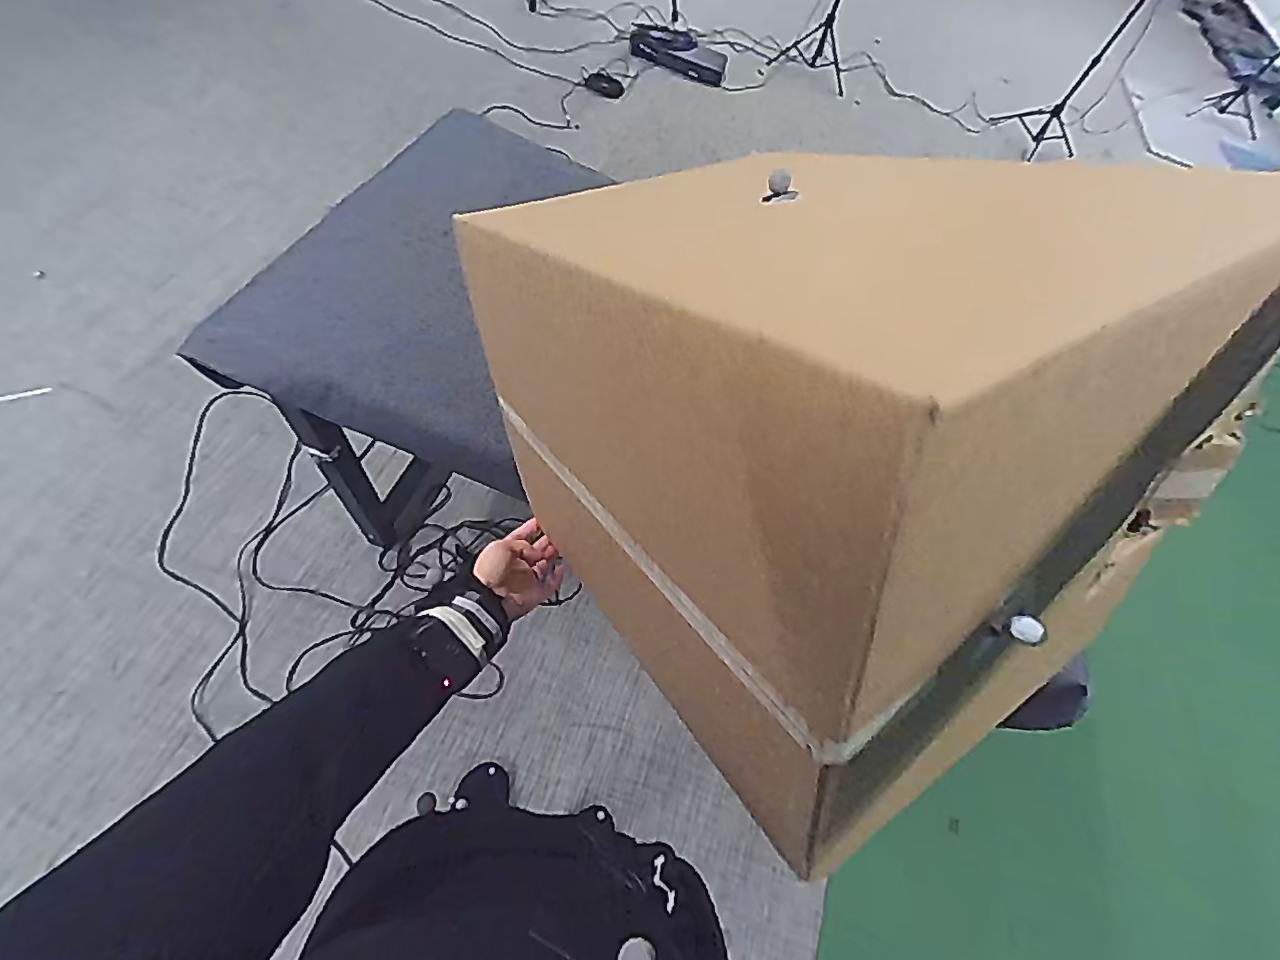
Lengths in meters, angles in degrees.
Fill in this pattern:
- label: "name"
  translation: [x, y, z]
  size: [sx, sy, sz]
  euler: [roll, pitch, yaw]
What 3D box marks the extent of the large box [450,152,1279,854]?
- label: "large box"
  translation: [0.102, -0.040, 0.418]
  size: [0.320, 0.320, 0.408]
  euler: [-26, 41, -23]
